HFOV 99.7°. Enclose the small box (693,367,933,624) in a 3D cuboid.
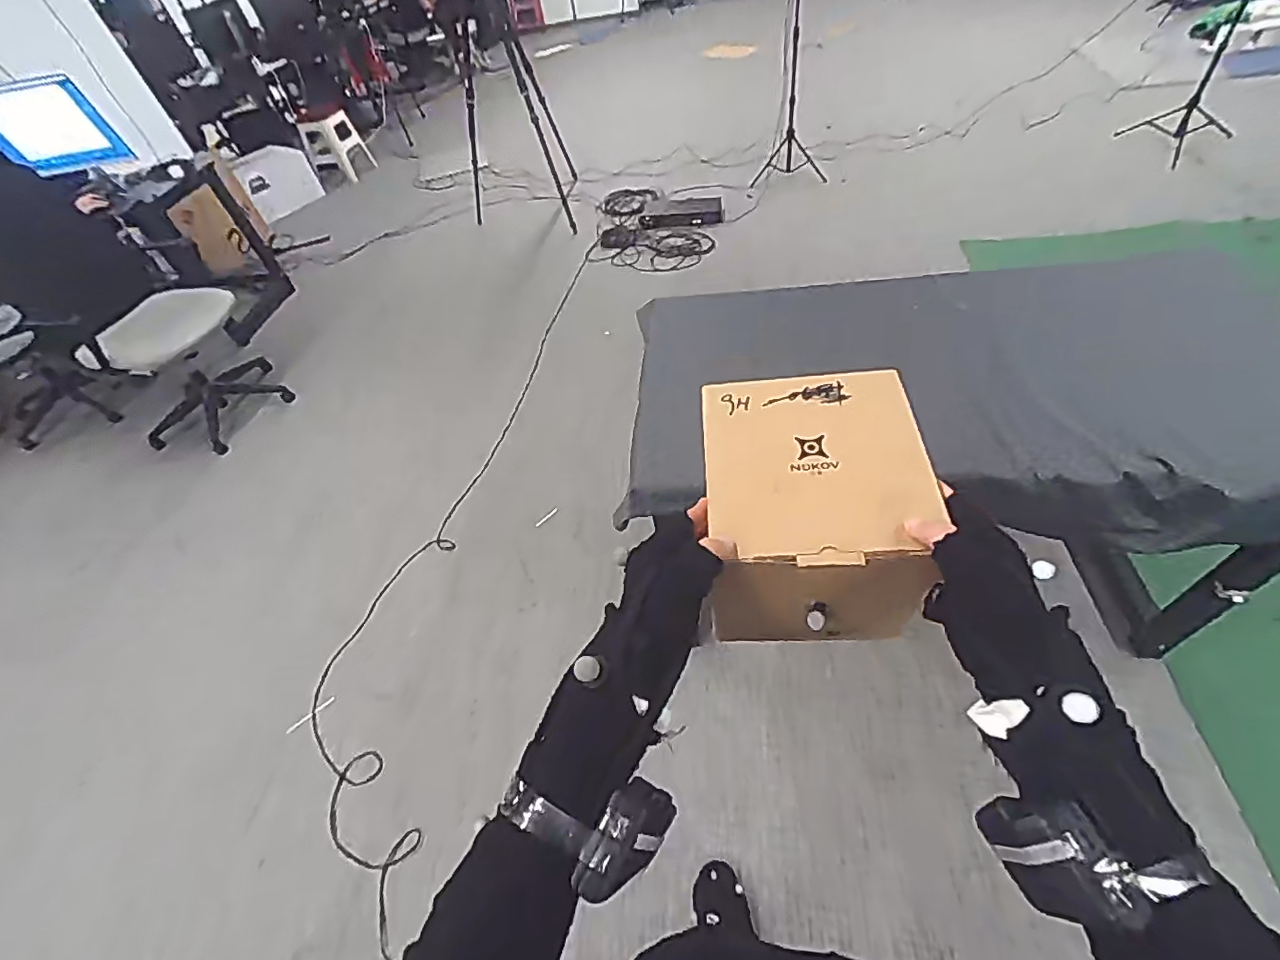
[{"bbox_3d":[0.139,0.025,0.493,0.168,0.176,0.179,-4,55,9],"label":"small box"}]
